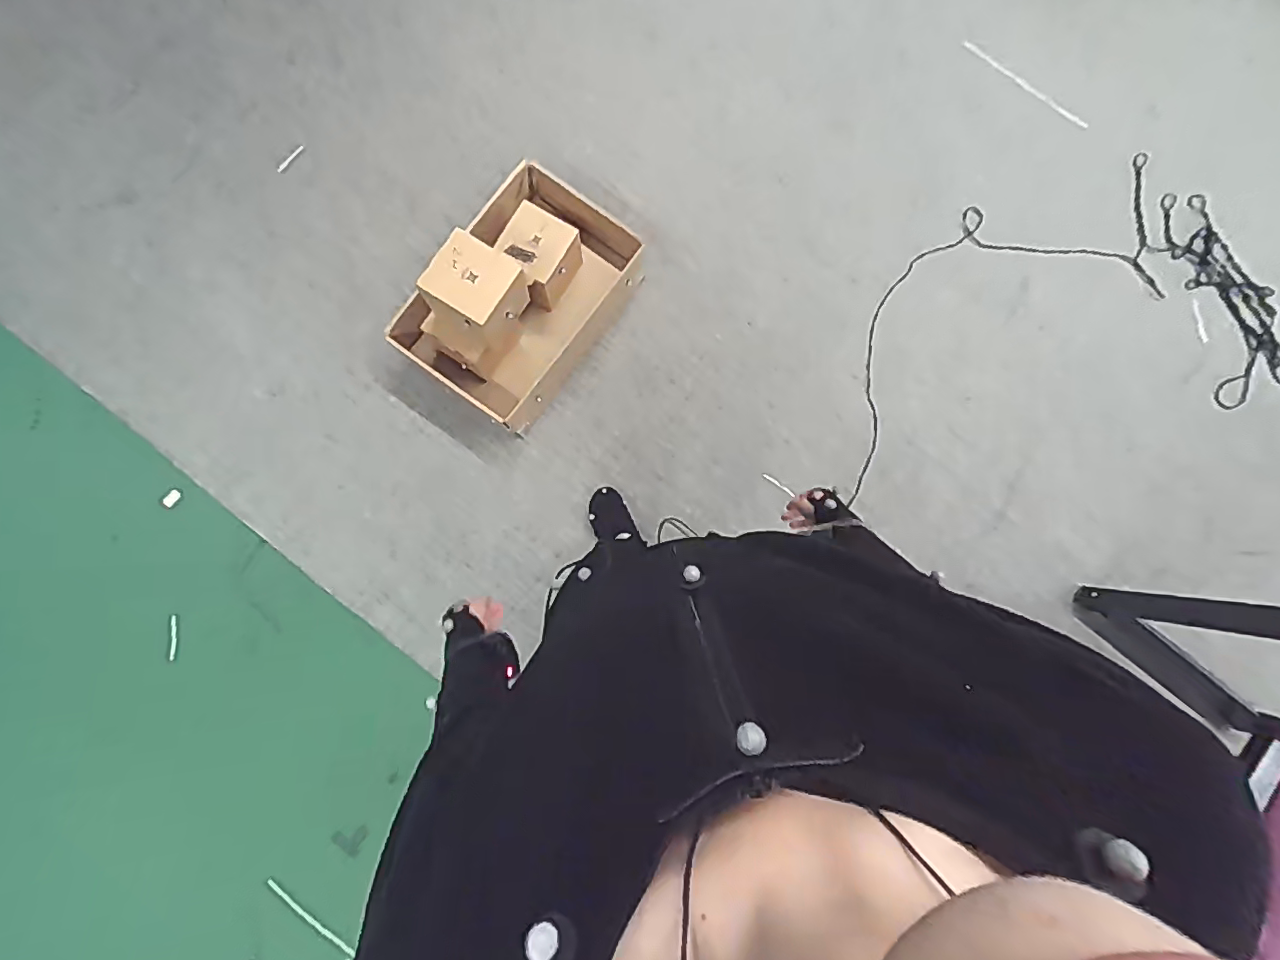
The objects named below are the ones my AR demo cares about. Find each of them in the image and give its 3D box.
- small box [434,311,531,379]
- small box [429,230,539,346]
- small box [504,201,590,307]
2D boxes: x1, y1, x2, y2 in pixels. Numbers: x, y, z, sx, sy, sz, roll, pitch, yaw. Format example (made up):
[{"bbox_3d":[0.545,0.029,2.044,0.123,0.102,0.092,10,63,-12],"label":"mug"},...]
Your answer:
[{"bbox_3d":[-0.407,-0.396,1.441,0.168,0.176,0.179,33,82,1],"label":"small box"},{"bbox_3d":[-0.358,-0.443,1.284,0.179,0.176,0.168,31,82,1],"label":"small box"},{"bbox_3d":[-0.244,-0.603,1.466,0.168,0.176,0.179,30,85,1],"label":"small box"}]
